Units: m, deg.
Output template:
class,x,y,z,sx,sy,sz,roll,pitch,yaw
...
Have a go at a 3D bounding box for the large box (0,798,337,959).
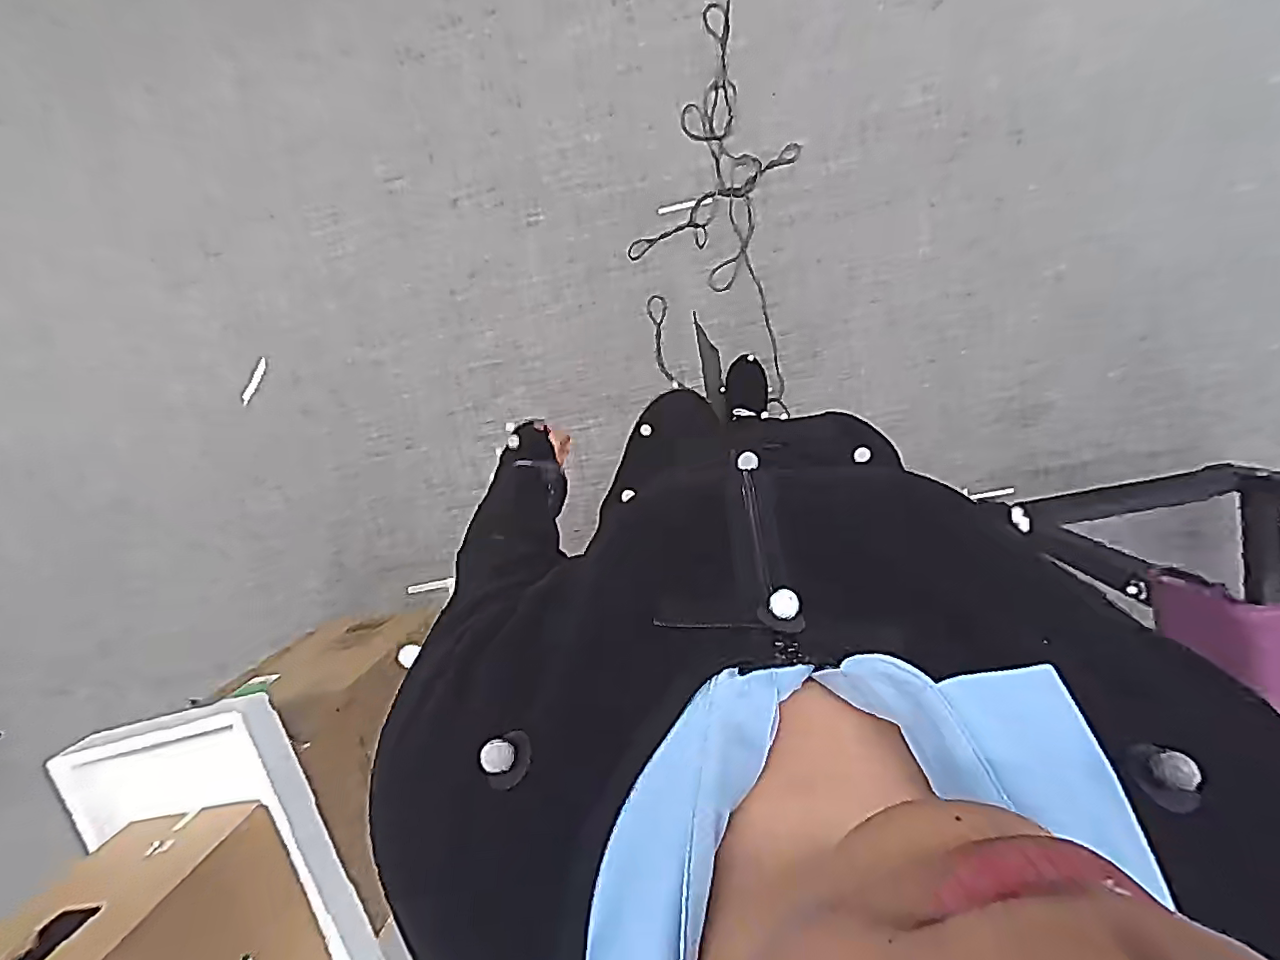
class,x,y,z,sx,sy,sz,roll,pitch,yaw
large box,-0.809,0.843,0.921,0.320,0.320,0.408,-13,100,9
